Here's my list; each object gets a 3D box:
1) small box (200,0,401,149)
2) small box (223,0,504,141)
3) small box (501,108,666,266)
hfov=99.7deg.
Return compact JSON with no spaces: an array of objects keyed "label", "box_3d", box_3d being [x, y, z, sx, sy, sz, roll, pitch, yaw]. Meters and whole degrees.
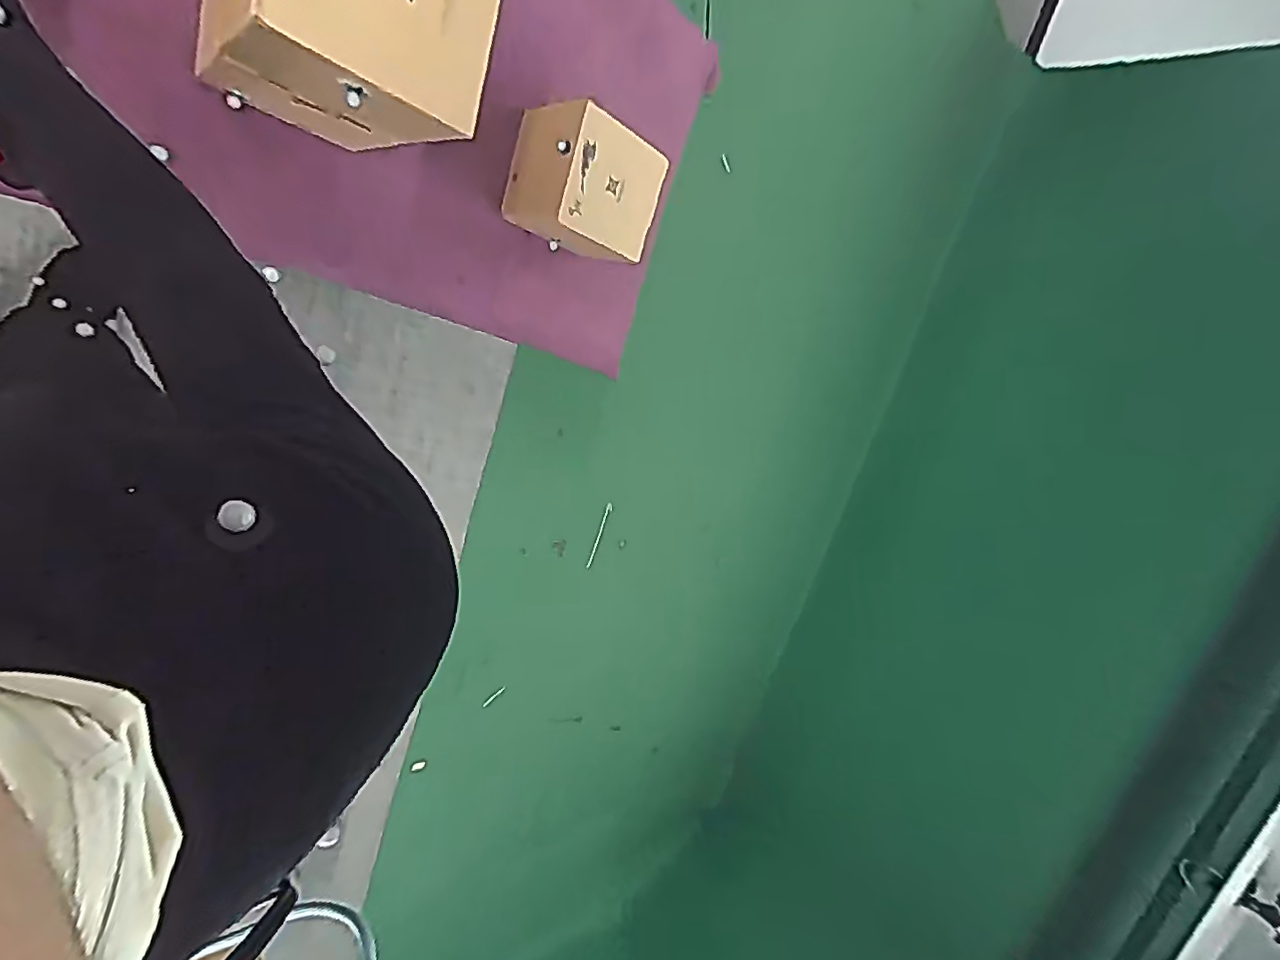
[{"label":"small box","box_3d":[-0.356,-0.487,0.587,0.168,0.176,0.179,3,108,-48]},{"label":"small box","box_3d":[-0.247,-0.426,0.483,0.179,0.176,0.168,3,109,-48]},{"label":"small box","box_3d":[-0.094,-0.466,0.876,0.179,0.176,0.168,5,107,-48]}]
